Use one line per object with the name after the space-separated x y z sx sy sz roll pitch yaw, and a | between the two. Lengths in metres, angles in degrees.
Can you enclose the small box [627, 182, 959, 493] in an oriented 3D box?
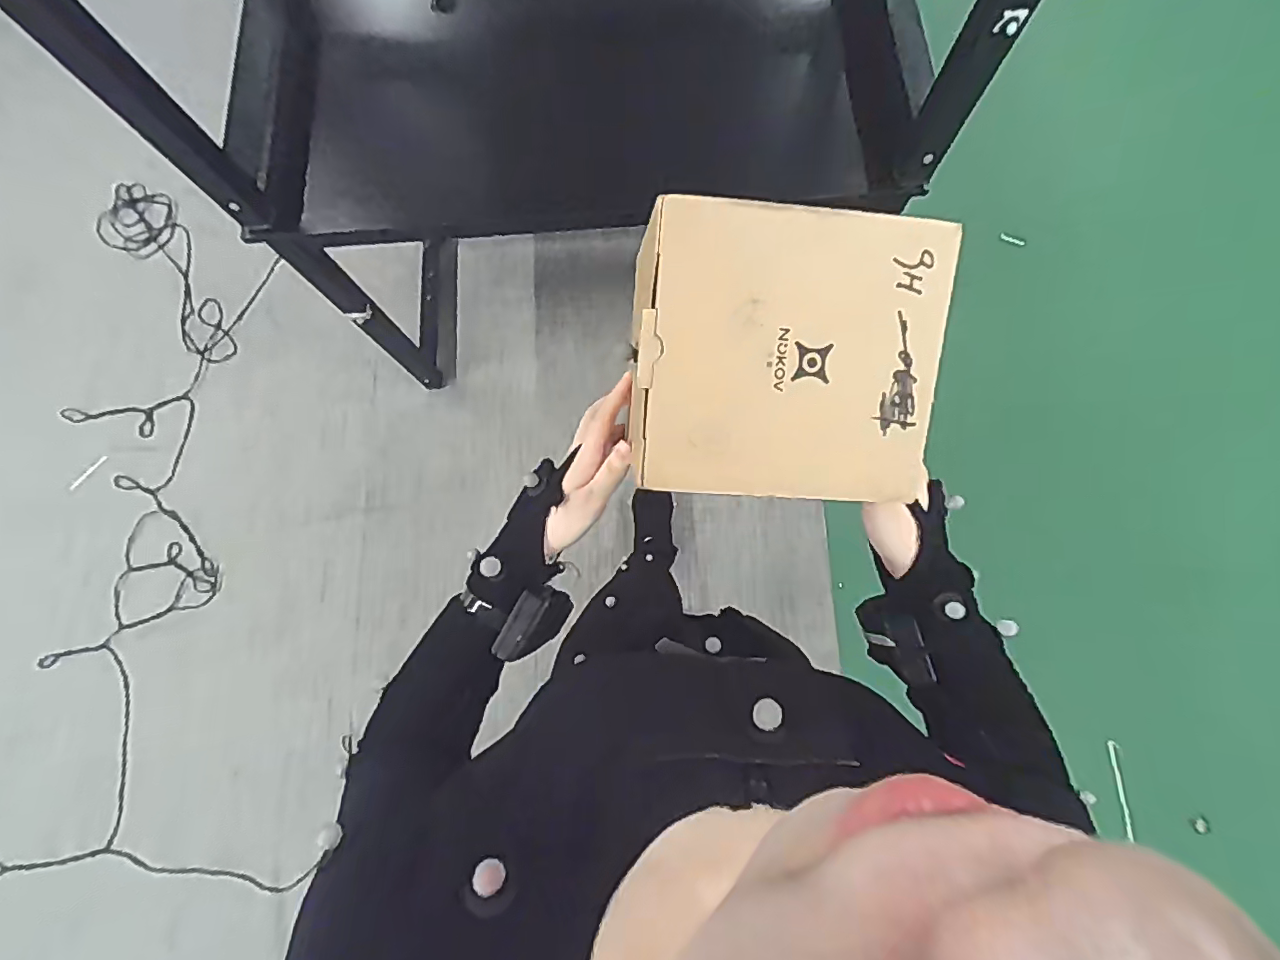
0.083 -0.094 0.391 0.179 0.176 0.168 3 103 -4 | small box
